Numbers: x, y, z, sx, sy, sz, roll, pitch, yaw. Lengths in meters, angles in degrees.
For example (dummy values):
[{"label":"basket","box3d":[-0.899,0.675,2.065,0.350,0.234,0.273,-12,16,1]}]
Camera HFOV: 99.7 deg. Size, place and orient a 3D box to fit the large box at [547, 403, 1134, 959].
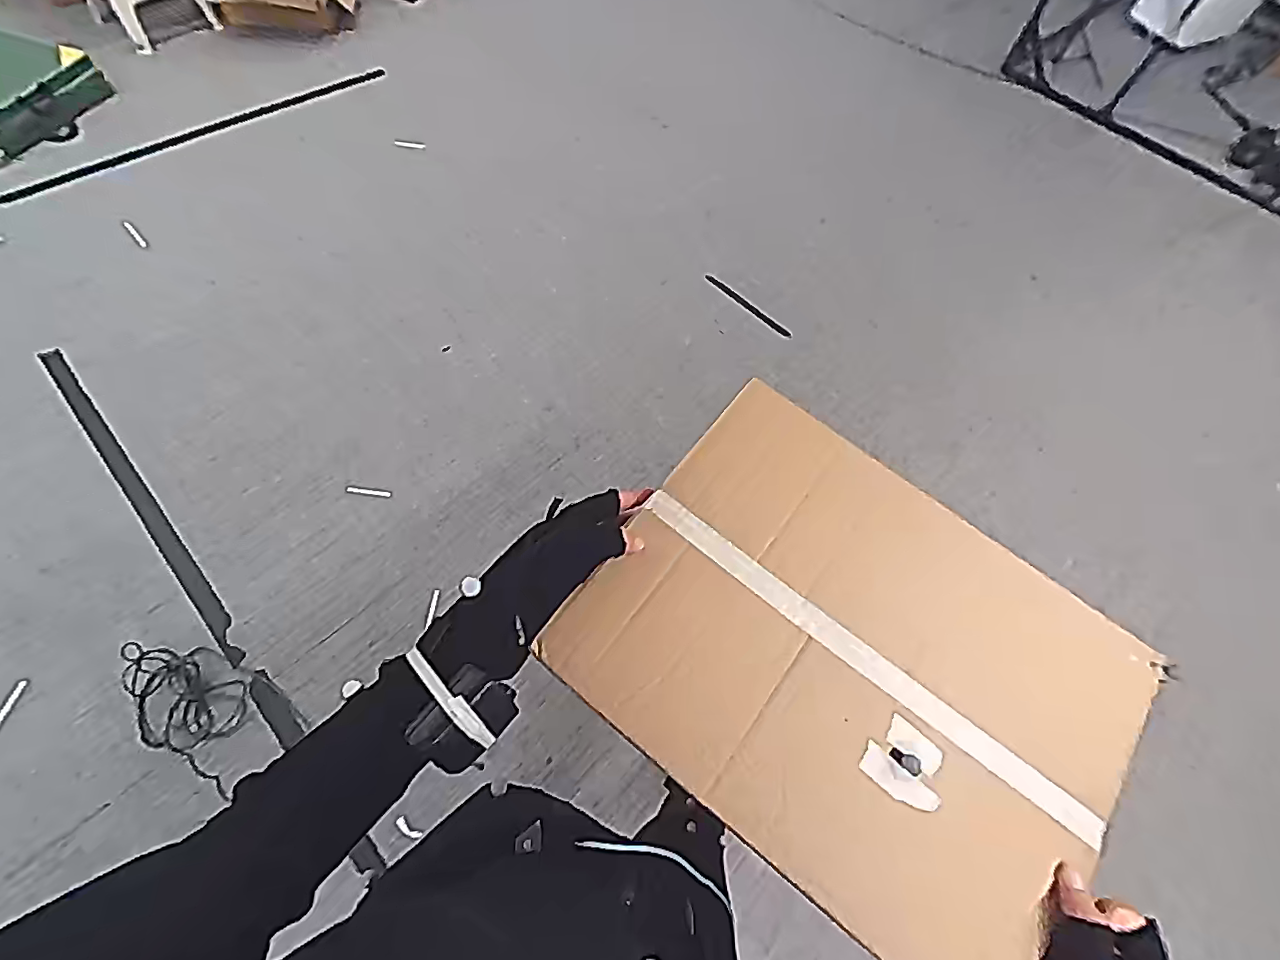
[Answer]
[{"label":"large box","box3d":[0.159,0.199,0.578,0.408,0.320,0.320,37,72,10]}]
